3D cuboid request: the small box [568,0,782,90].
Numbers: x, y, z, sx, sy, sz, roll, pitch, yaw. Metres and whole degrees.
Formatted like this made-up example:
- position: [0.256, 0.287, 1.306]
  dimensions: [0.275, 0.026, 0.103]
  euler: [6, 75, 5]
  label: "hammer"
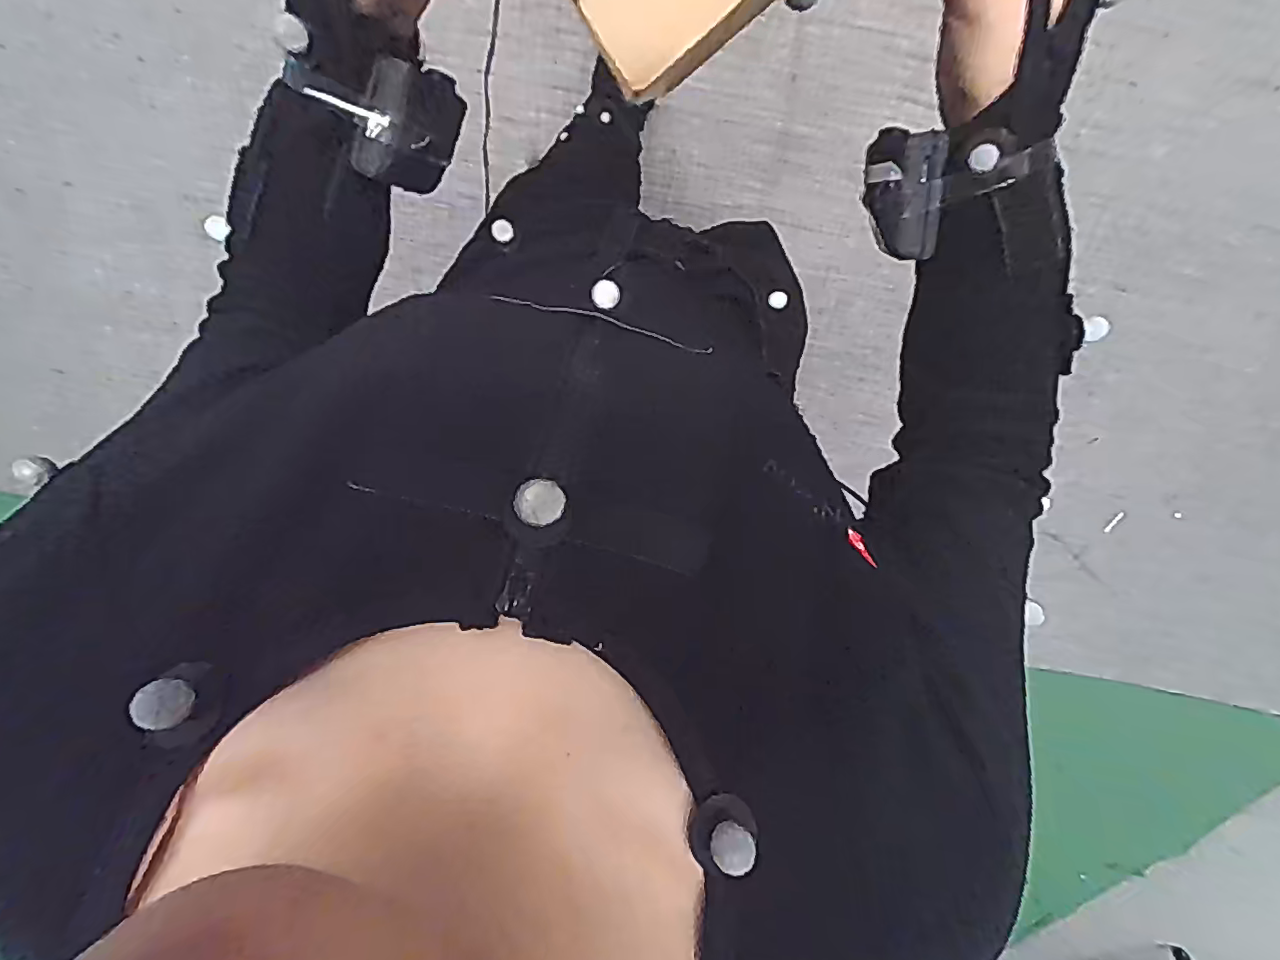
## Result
- position: [0.029, -0.279, 0.195]
  dimensions: [0.179, 0.176, 0.168]
  euler: [-28, 118, 25]
  label: "small box"
